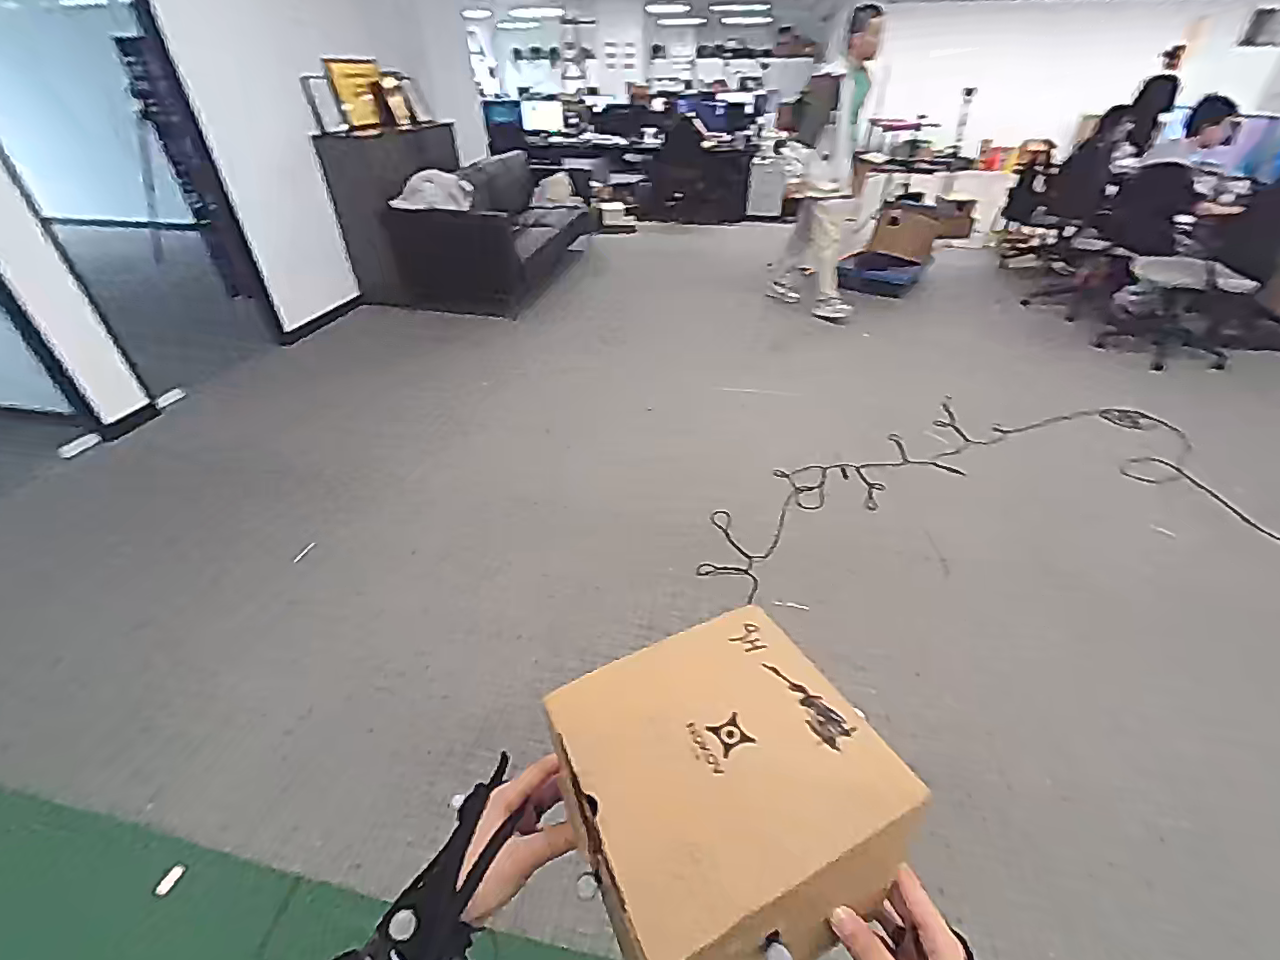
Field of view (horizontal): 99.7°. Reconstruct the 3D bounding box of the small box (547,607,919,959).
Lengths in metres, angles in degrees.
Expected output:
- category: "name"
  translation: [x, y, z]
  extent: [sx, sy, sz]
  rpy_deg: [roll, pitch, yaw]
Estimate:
- category: "small box"
  translation: [0.054, 0.229, 0.378]
  extent: [0.179, 0.176, 0.168]
  rpy_deg: [-18, 36, -19]
